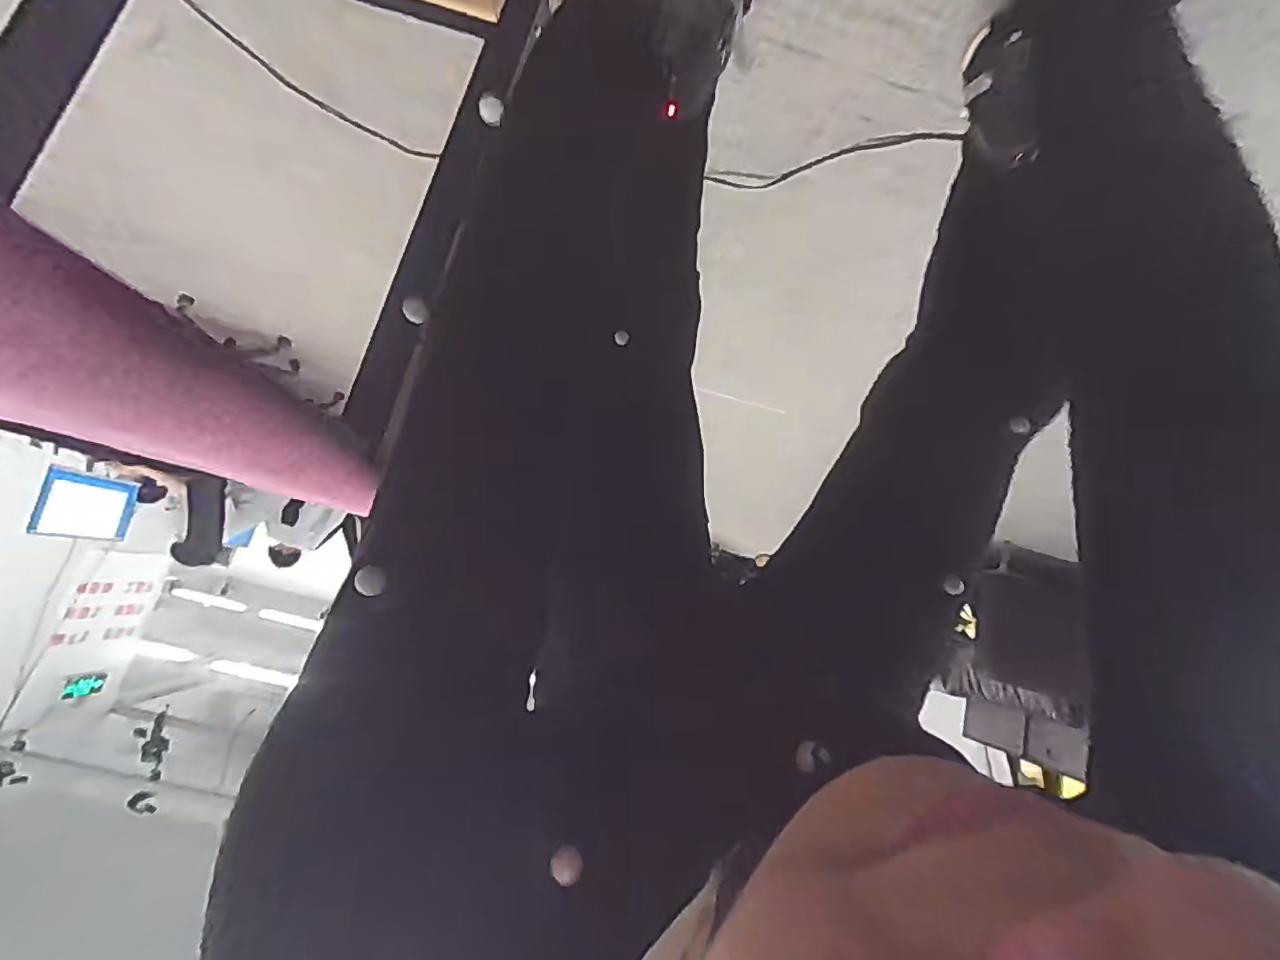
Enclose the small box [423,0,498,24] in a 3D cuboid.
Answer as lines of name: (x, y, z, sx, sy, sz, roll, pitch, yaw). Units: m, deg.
small box: (-0.213, -0.635, 0.548, 0.168, 0.176, 0.179, 16, 168, -2)
